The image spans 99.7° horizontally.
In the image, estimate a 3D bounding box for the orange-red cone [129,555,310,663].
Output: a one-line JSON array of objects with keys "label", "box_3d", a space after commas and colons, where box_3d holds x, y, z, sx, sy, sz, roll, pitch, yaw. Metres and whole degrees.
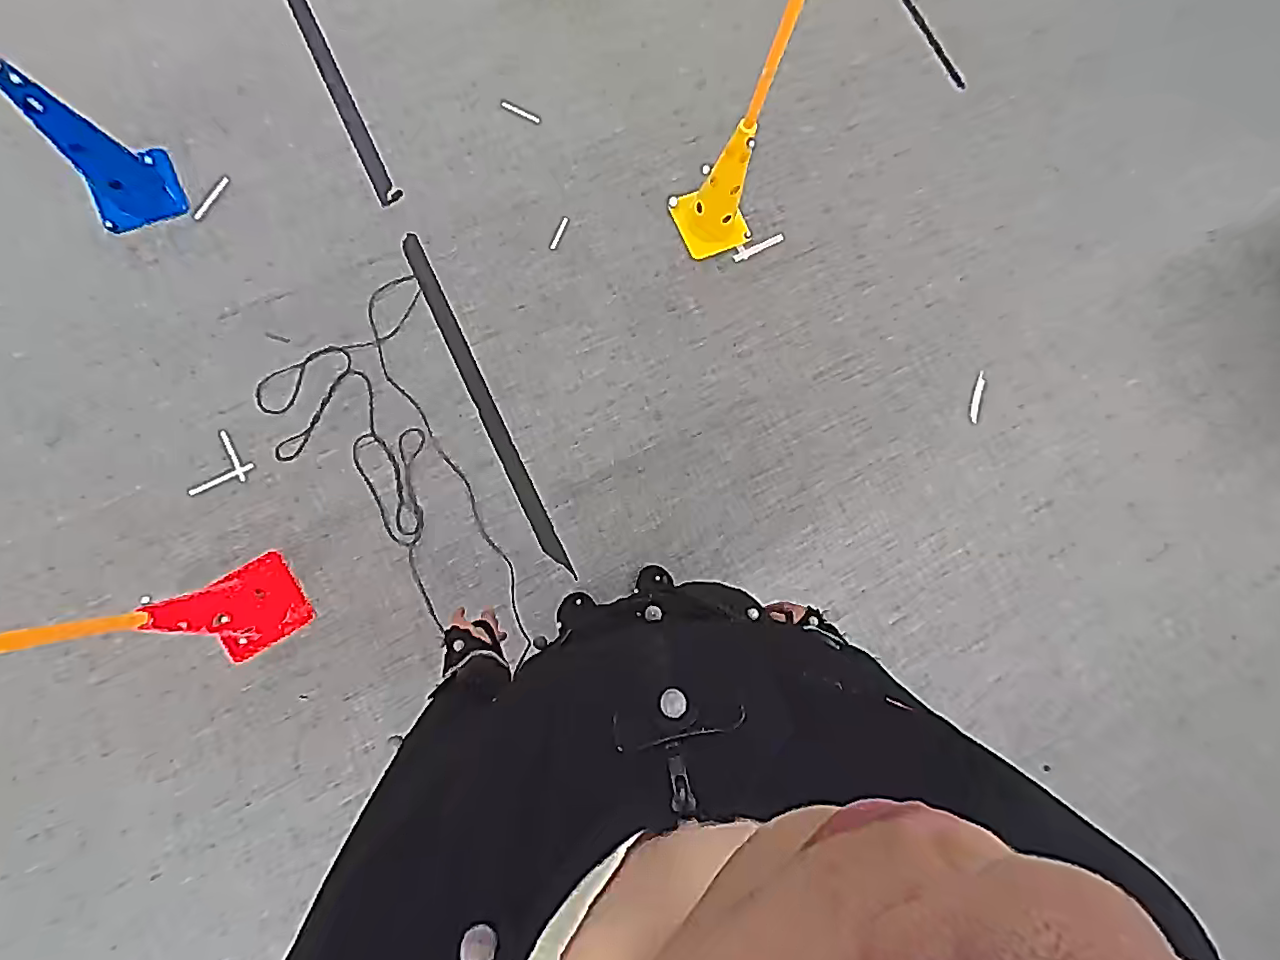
[{"label": "orange-red cone", "box_3d": [-0.875, 0.268, 1.091, 0.199, 0.360, 0.198, -31, 86, -12]}]

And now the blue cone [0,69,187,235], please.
[{"label": "blue cone", "box_3d": [-1.268, -0.762, 1.231, 0.193, 0.380, 0.192, -23, 85, -10]}]
